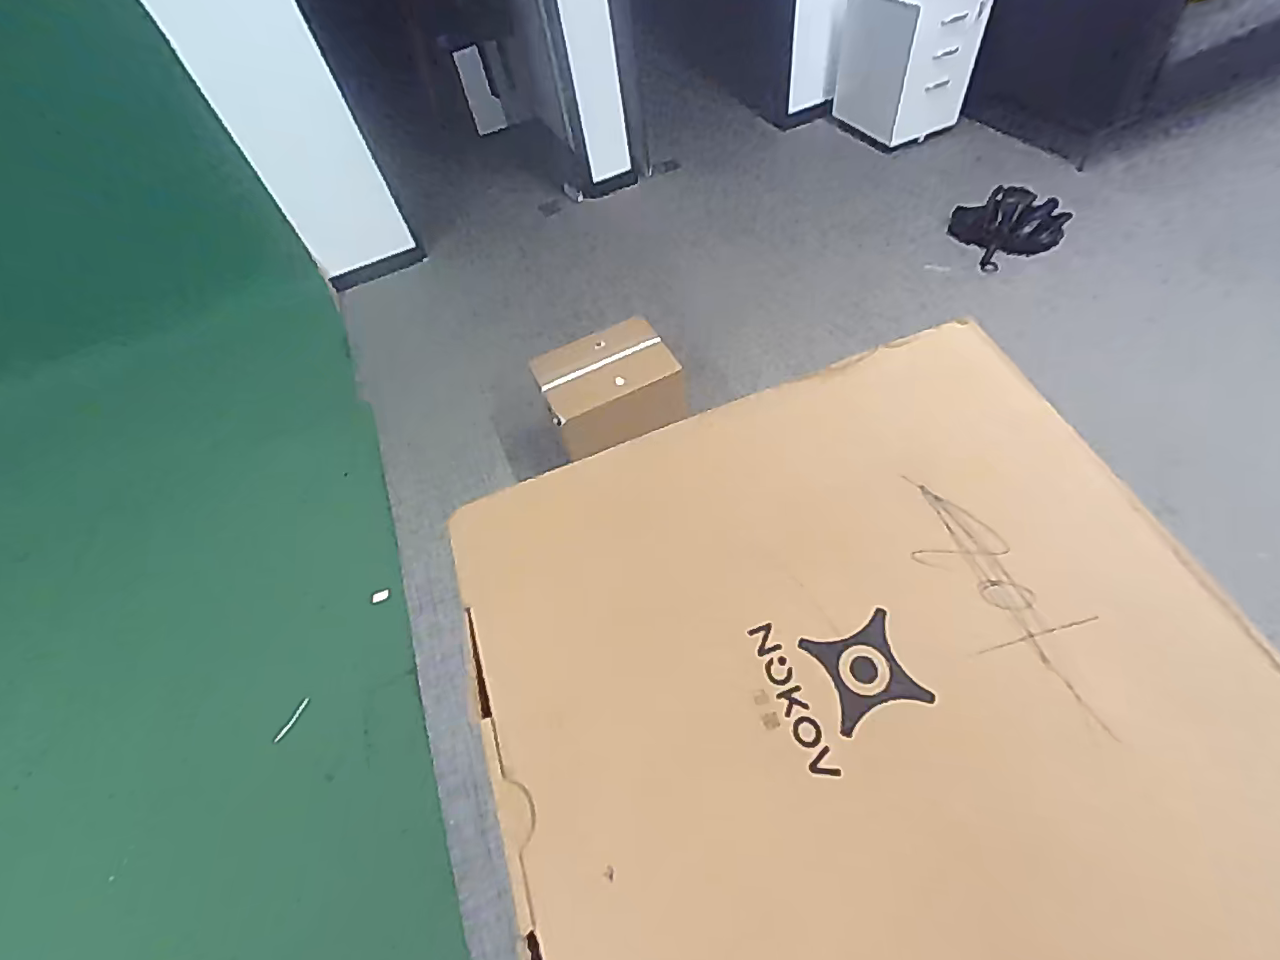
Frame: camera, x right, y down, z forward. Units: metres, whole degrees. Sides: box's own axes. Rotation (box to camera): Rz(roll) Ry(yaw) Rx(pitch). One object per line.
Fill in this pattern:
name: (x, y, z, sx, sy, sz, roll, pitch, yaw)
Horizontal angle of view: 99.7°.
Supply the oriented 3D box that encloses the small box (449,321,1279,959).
small box: (0.056, 0.079, 0.207, 0.179, 0.176, 0.168, -20, 63, -3)
